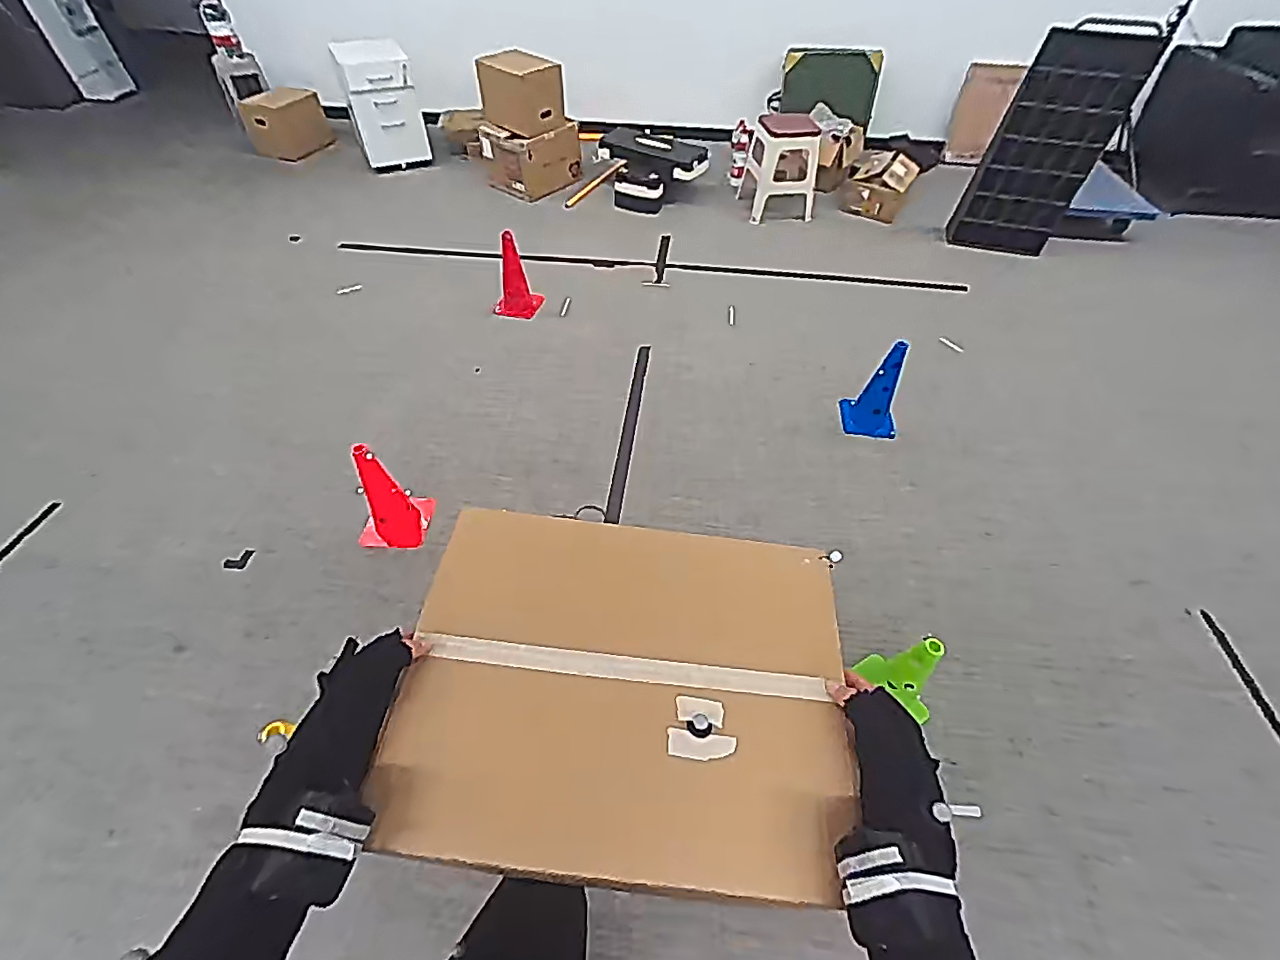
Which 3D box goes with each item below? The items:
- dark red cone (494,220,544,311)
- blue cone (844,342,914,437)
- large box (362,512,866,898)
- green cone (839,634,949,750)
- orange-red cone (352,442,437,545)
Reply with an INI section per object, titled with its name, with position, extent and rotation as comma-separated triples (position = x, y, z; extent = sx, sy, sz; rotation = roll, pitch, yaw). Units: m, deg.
[dark red cone]
position = -0.569, -0.975, 2.456
extent = 0.201, 0.394, 0.202
rotation = 11, 51, 6
[blue cone]
position = 0.921, -0.353, 2.029
extent = 0.192, 0.380, 0.193
rotation = 9, 51, 4
[large box]
position = -0.020, 0.267, 0.624
extent = 0.408, 0.320, 0.320
rotation = 8, 52, 0
[green cone]
position = 0.642, 0.473, 1.307
extent = 0.202, 0.368, 0.200
rotation = -23, 55, -21
[orange-red cone]
position = -0.787, 0.020, 1.648
extent = 0.198, 0.360, 0.199
rotation = 3, 51, 2
